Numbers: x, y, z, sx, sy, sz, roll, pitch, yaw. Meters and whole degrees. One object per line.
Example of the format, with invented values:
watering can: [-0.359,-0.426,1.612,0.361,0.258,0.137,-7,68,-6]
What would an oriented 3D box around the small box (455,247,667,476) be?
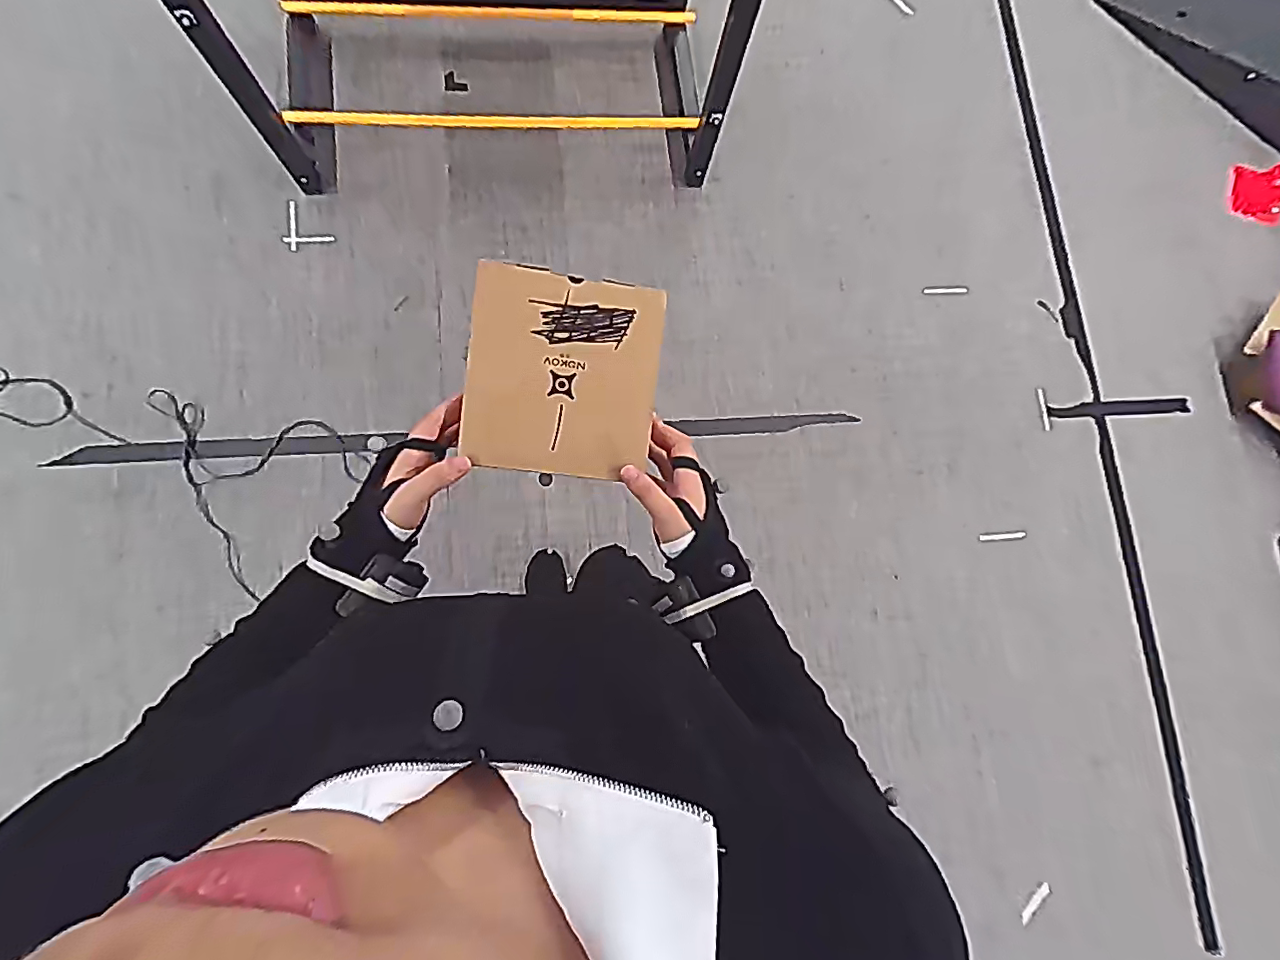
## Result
small box: [-0.078,-0.102,0.542,0.168,0.176,0.179,7,92,-9]
